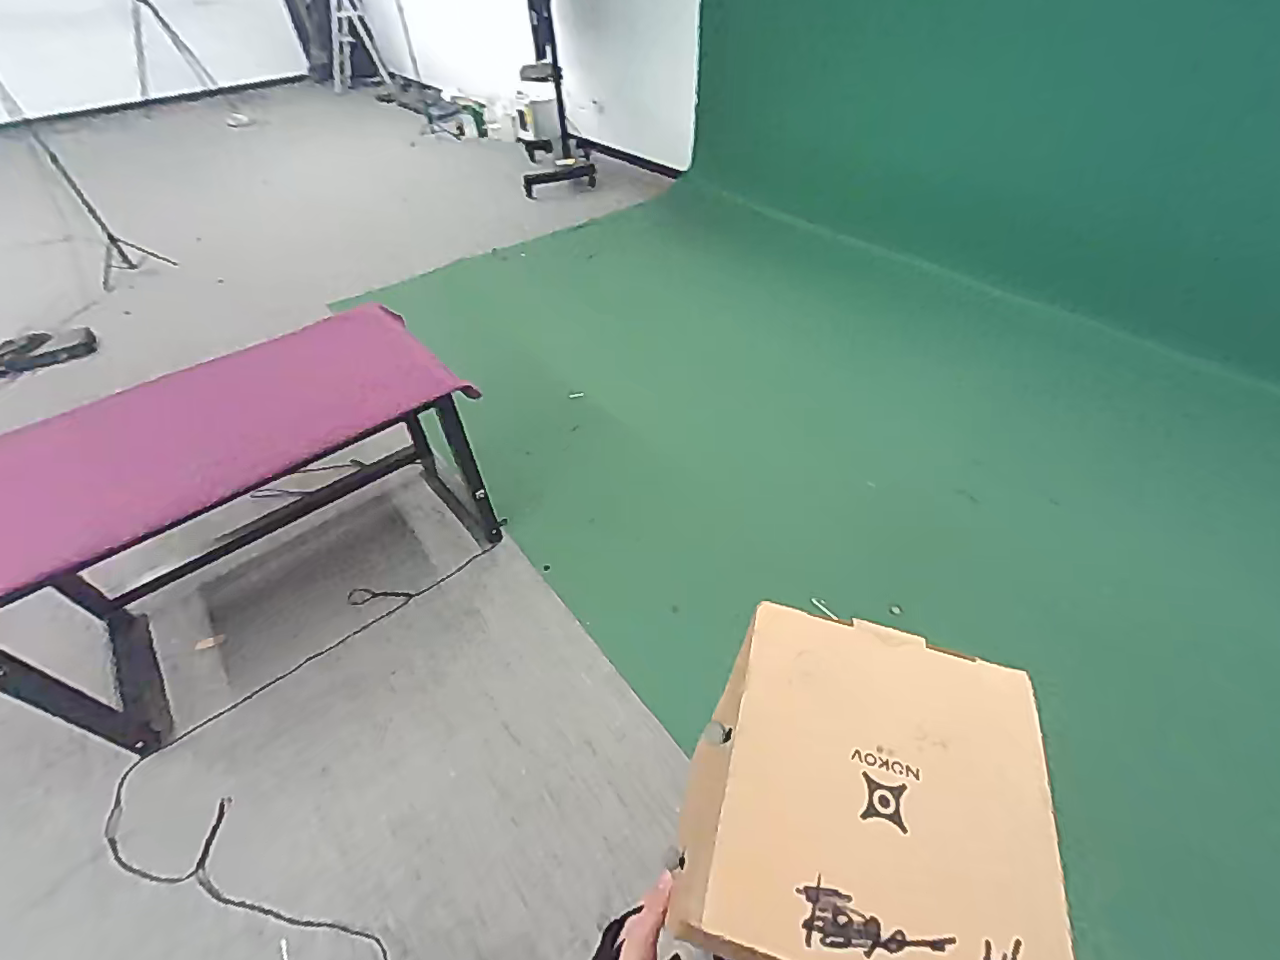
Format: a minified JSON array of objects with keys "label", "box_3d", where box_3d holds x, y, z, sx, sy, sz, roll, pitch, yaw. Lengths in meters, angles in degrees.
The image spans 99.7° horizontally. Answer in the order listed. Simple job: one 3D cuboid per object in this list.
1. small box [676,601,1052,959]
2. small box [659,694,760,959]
[{"label":"small box","box_3d":[0.123,0.212,0.353,0.168,0.176,0.179,13,52,10]},{"label":"small box","box_3d":[0.117,0.321,0.476,0.168,0.176,0.179,14,53,10]}]
